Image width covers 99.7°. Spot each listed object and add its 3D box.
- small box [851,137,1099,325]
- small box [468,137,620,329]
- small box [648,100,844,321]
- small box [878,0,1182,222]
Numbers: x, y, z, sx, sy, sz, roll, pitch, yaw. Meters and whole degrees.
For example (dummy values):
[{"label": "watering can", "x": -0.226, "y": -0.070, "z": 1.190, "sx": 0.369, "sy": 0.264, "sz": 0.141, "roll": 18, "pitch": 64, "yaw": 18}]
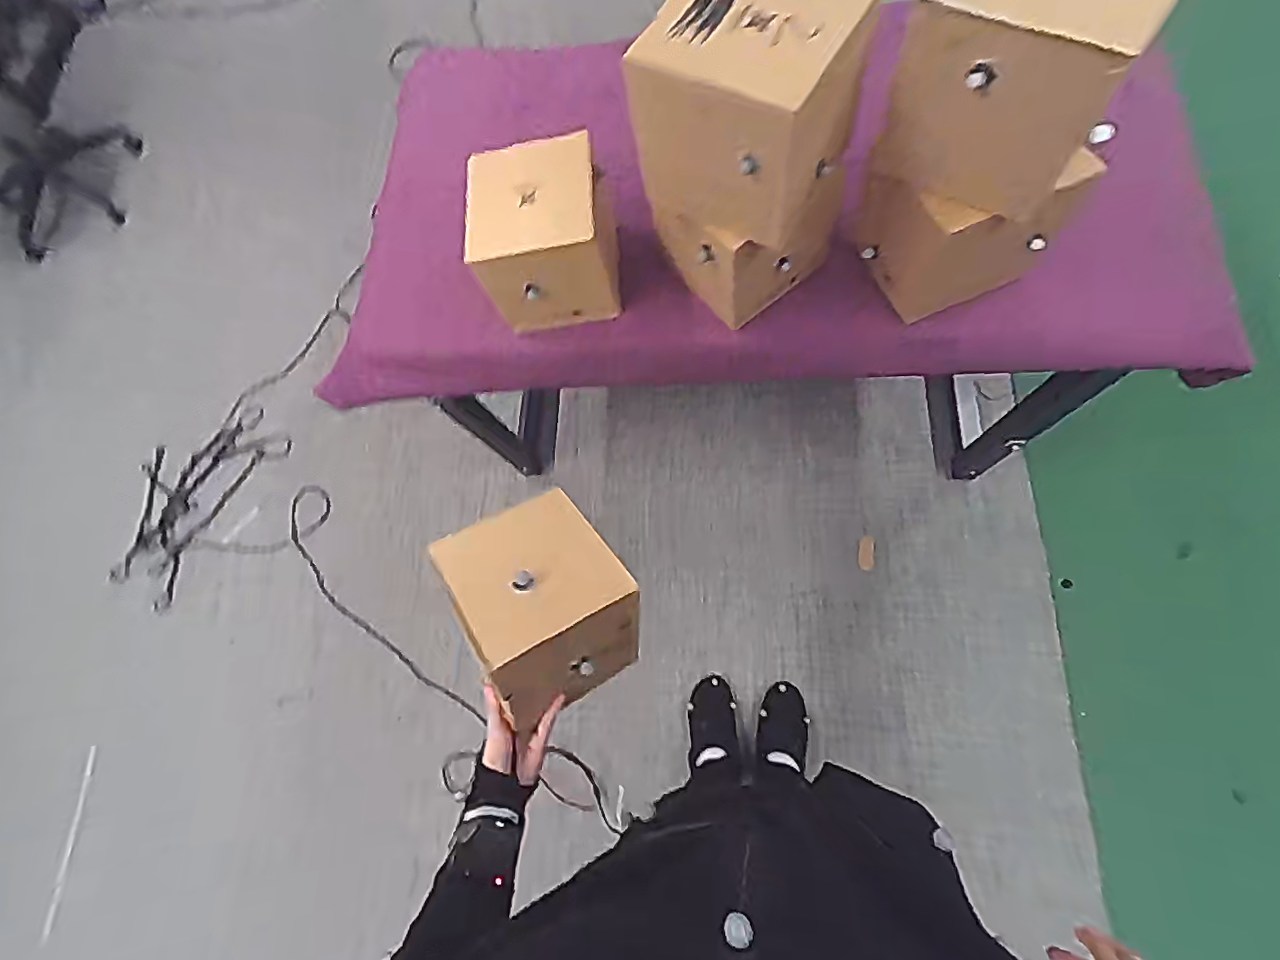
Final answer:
[{"label": "small box", "x": 0.391, "y": -0.327, "z": 0.673, "sx": 0.179, "sy": 0.176, "sz": 0.168, "roll": -22, "pitch": 69, "yaw": 3}, {"label": "small box", "x": -0.125, "y": -0.330, "z": 0.760, "sx": 0.168, "sy": 0.176, "sz": 0.179, "roll": -7, "pitch": 71, "yaw": 7}, {"label": "small box", "x": 0.135, "y": -0.339, "z": 0.717, "sx": 0.168, "sy": 0.176, "sz": 0.179, "roll": -36, "pitch": 70, "yaw": -4}, {"label": "small box", "x": 0.363, "y": -0.390, "z": 0.523, "sx": 0.179, "sy": 0.176, "sz": 0.168, "roll": 34, "pitch": 79, "yaw": 18}]
